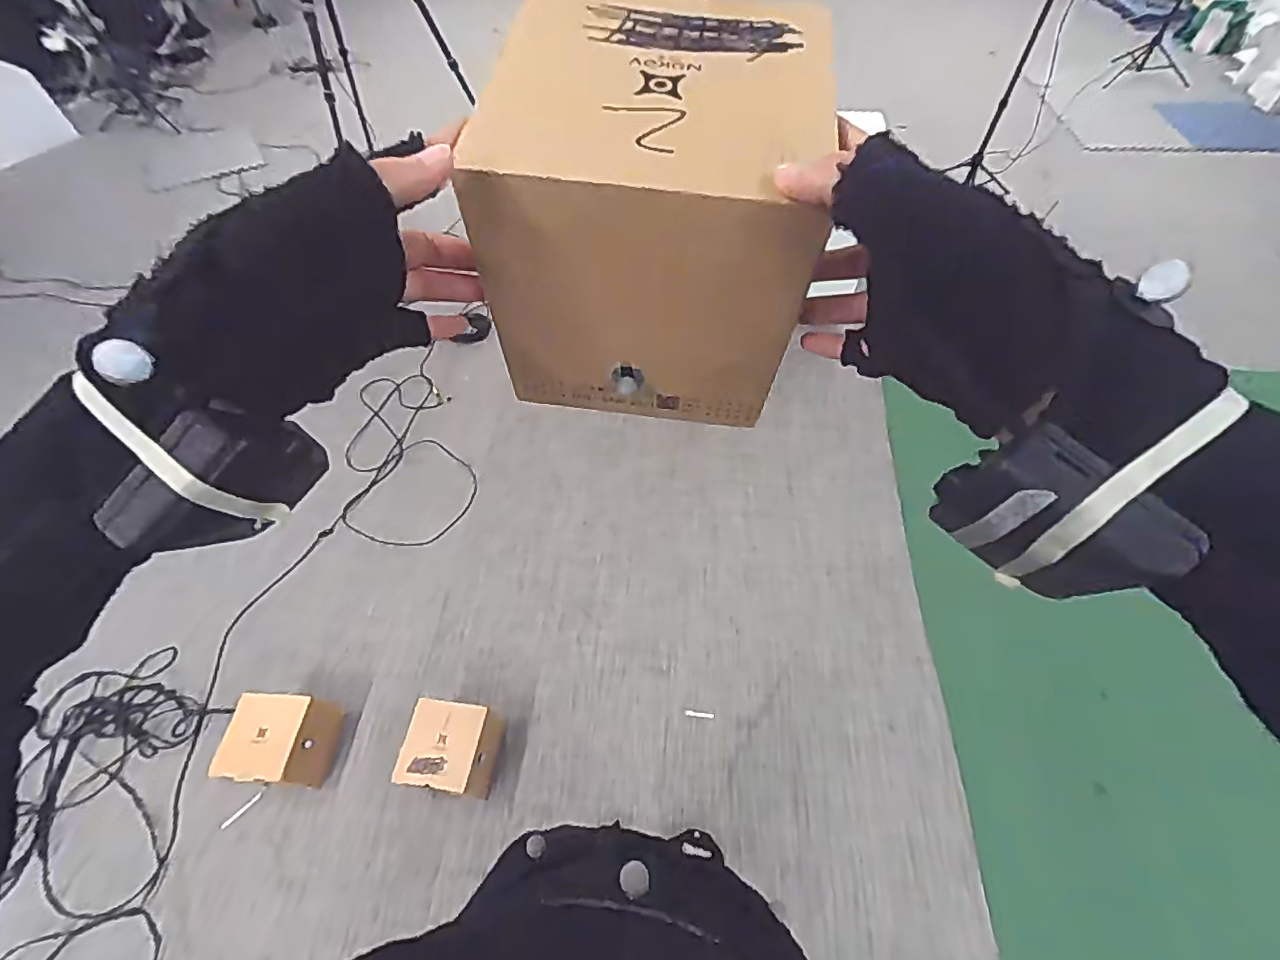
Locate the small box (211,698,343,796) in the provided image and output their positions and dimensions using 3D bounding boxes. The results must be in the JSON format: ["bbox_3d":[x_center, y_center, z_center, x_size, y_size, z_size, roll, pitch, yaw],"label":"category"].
[{"bbox_3d":[-0.831,0.625,1.263,0.168,0.176,0.179,1,56,3],"label":"small box"}]

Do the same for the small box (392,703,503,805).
[{"bbox_3d":[-0.429,0.633,1.241,0.168,0.176,0.179,6,55,6],"label":"small box"}]
